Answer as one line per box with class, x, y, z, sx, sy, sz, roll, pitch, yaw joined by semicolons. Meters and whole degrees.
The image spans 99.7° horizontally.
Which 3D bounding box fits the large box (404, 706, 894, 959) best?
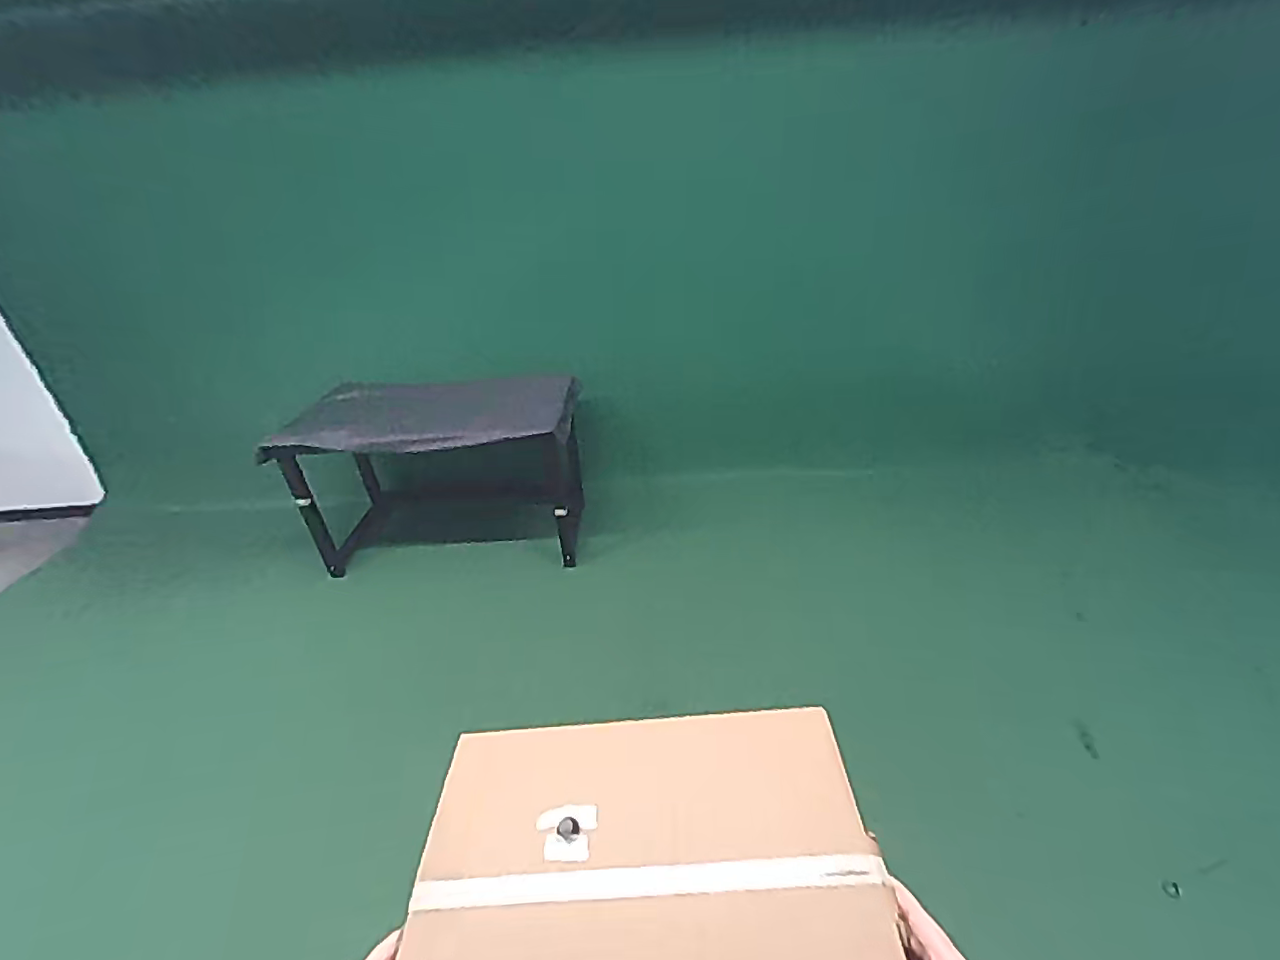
large box;0.022;0.479;0.558;0.408;0.320;0.320;-8;32;5
